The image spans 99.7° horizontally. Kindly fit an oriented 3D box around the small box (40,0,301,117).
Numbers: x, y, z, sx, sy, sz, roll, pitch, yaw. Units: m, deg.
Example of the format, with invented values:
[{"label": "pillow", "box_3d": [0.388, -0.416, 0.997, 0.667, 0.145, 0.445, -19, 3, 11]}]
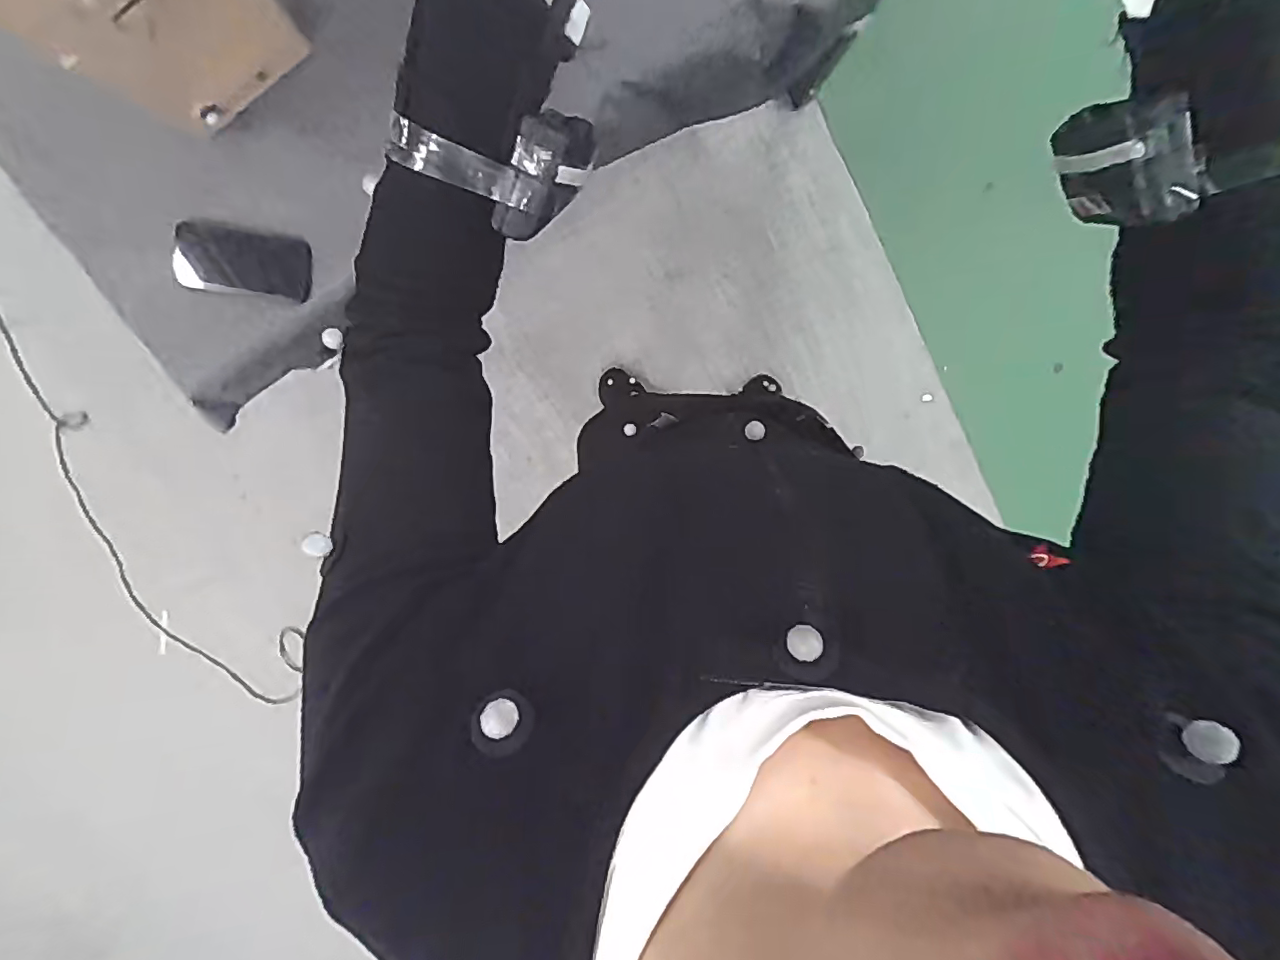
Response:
[{"label": "small box", "box_3d": [-0.486, -0.498, 0.527, 0.168, 0.176, 0.179, -34, 100, 6]}]
